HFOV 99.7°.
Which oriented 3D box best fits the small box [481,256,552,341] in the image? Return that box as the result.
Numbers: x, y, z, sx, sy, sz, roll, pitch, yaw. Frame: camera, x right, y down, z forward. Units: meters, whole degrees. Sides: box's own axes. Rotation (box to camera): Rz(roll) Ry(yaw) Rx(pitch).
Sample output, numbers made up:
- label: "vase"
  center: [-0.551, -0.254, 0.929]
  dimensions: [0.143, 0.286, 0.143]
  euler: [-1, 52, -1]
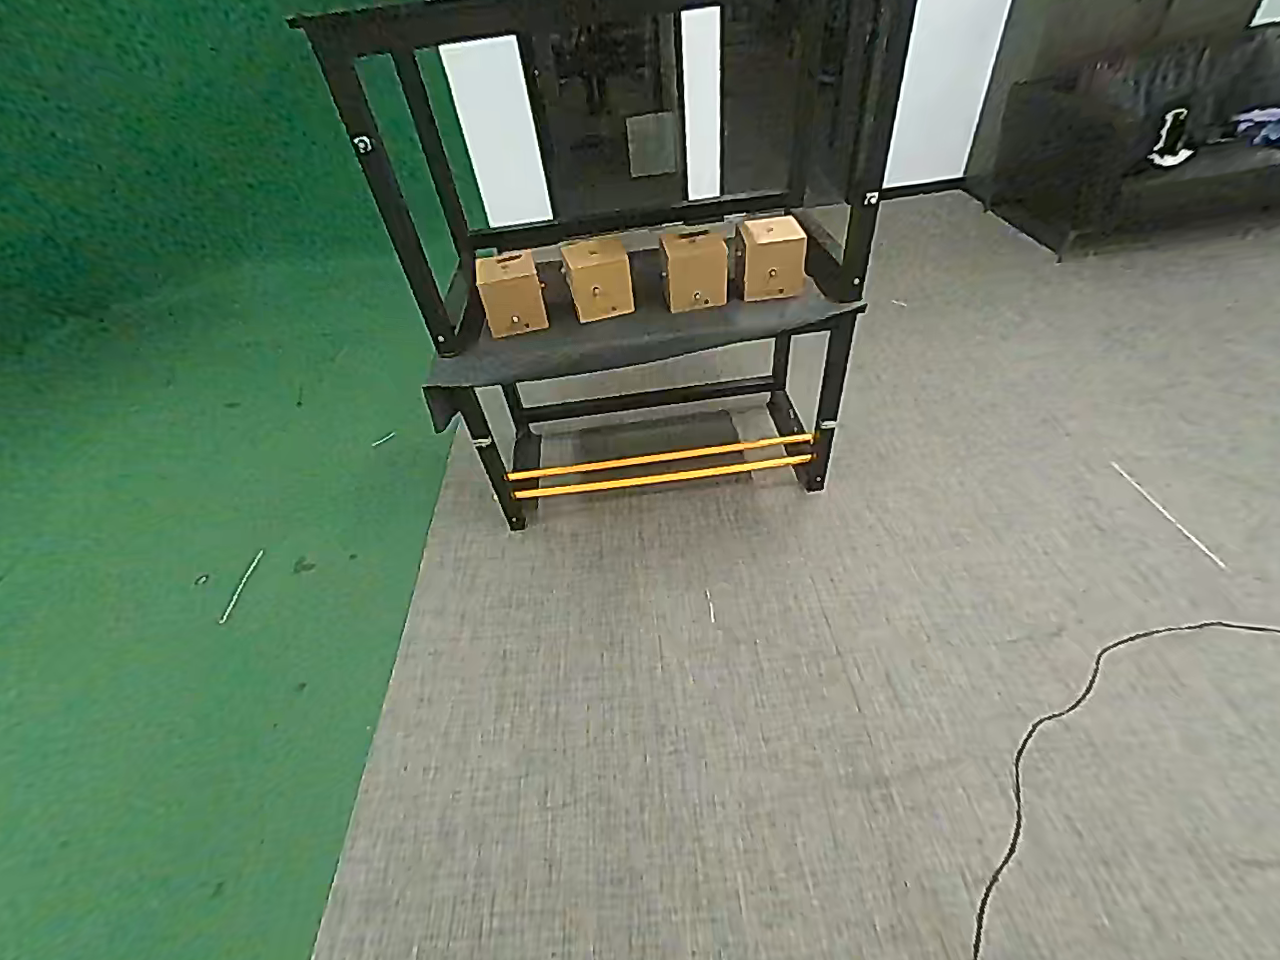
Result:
- label: "small box"
  center: [-0.362, -0.531, 1.588]
  dimensions: [0.168, 0.176, 0.179]
  euler: [-13, 44, -5]
